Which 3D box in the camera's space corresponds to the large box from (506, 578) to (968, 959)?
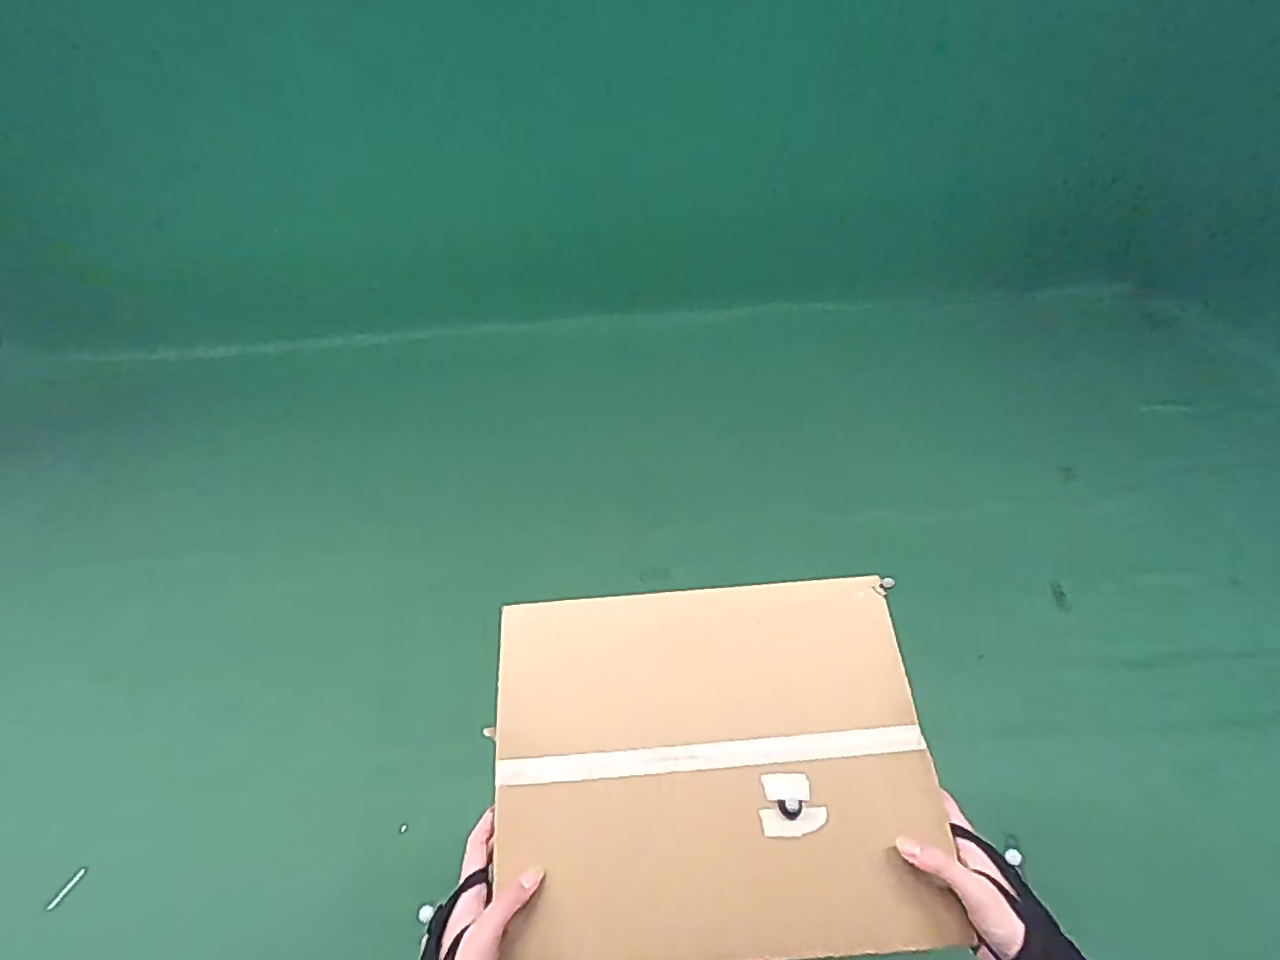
[{"bbox_3d":[0.072,0.328,0.652,0.408,0.320,0.320,-5,66,-1],"label":"large box"}]
